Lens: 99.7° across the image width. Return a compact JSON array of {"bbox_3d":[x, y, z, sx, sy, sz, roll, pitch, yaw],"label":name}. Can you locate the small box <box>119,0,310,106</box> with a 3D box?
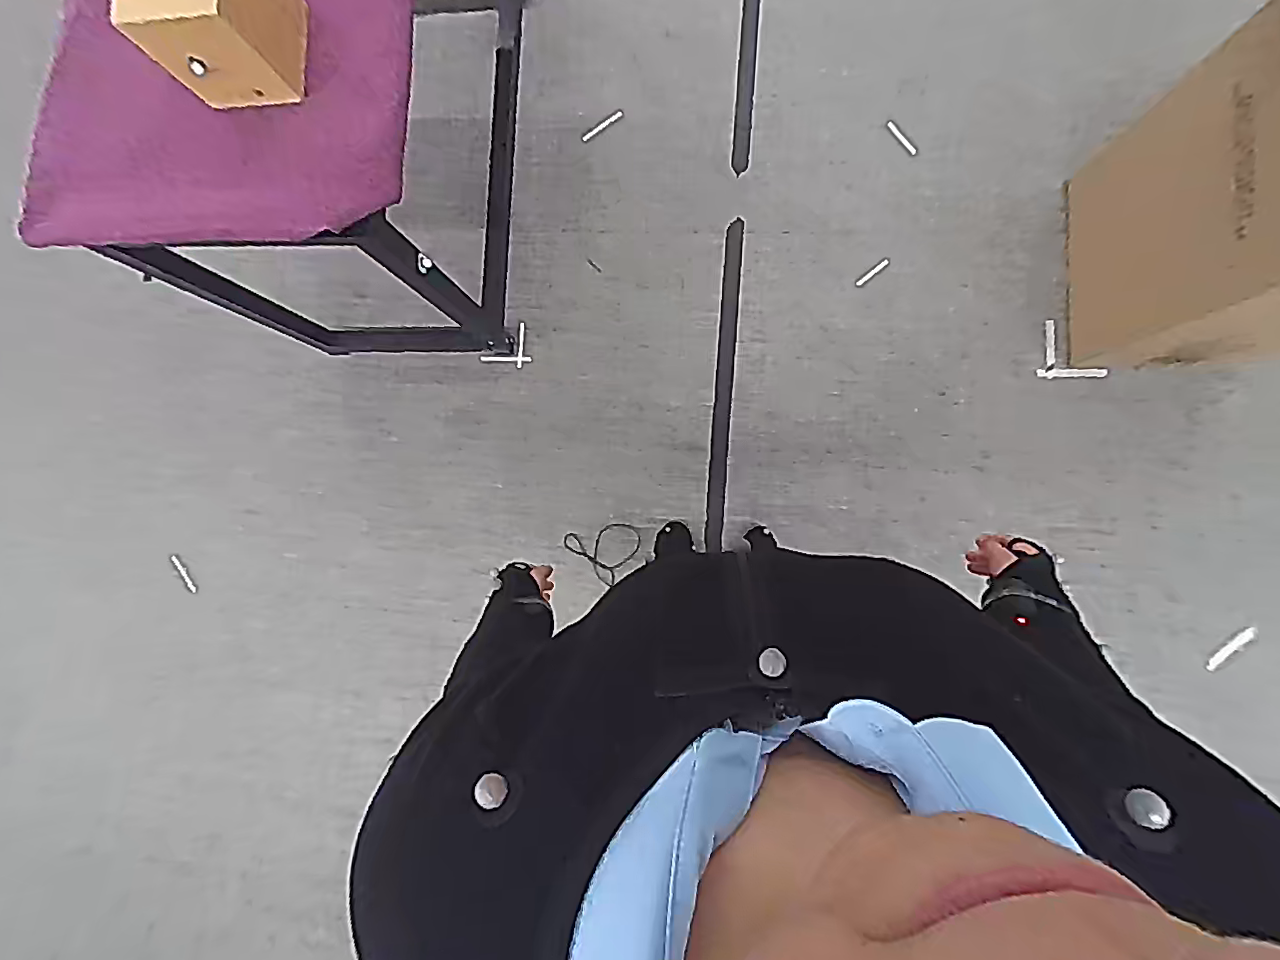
[{"bbox_3d":[-0.643,-0.714,0.836,0.168,0.176,0.179,0,86,6],"label":"small box"}]
